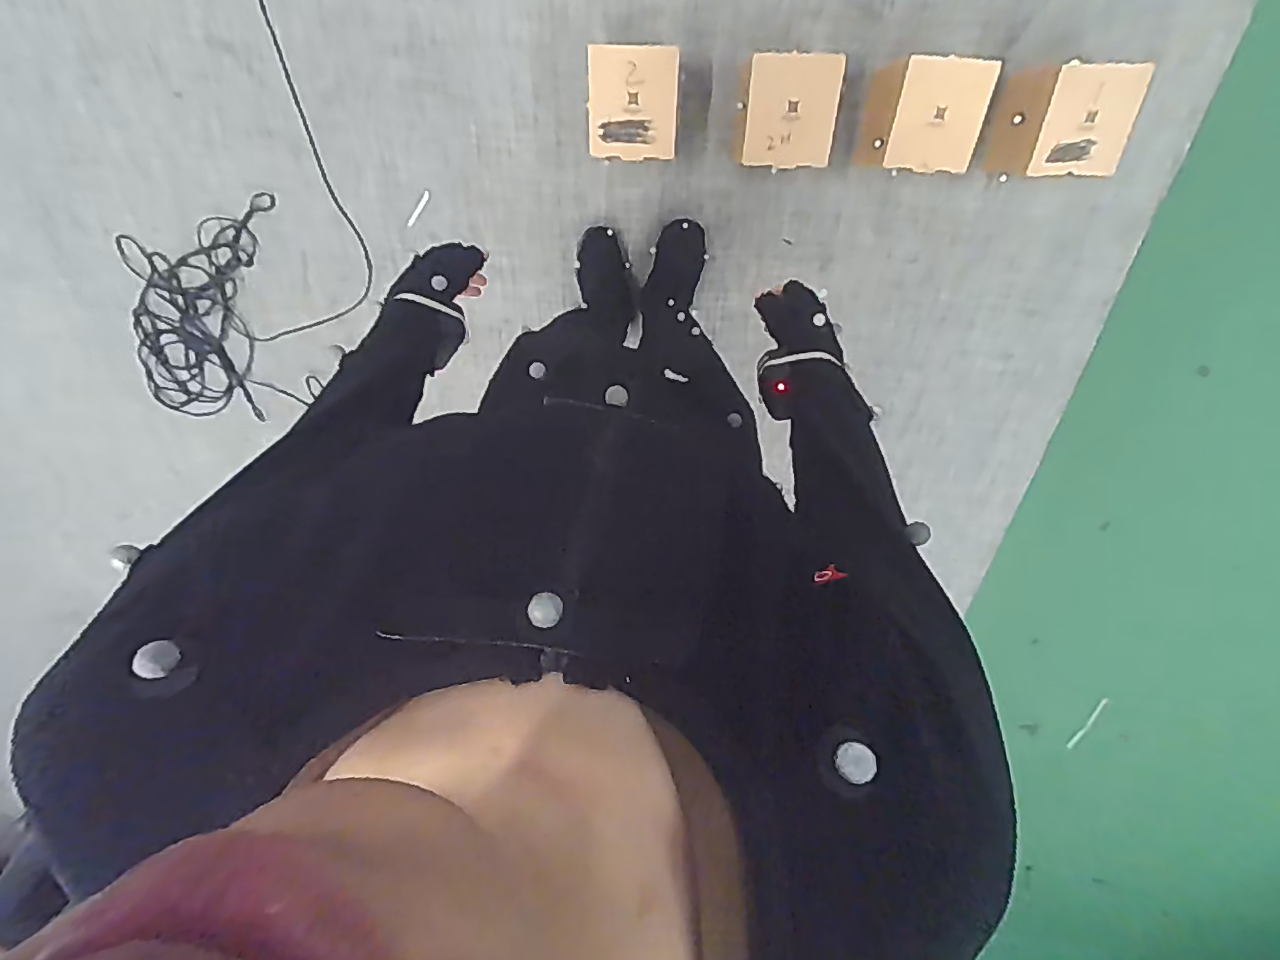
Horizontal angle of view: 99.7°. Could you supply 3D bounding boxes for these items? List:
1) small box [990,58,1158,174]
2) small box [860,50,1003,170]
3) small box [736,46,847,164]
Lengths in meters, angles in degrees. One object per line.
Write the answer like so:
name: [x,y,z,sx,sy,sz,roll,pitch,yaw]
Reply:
small box: [0.820,-0.698,1.048,0.168,0.176,0.179,1,121,2]
small box: [0.551,-0.711,1.053,0.168,0.176,0.179,4,122,0]
small box: [0.283,-0.722,1.054,0.168,0.176,0.179,3,122,2]
